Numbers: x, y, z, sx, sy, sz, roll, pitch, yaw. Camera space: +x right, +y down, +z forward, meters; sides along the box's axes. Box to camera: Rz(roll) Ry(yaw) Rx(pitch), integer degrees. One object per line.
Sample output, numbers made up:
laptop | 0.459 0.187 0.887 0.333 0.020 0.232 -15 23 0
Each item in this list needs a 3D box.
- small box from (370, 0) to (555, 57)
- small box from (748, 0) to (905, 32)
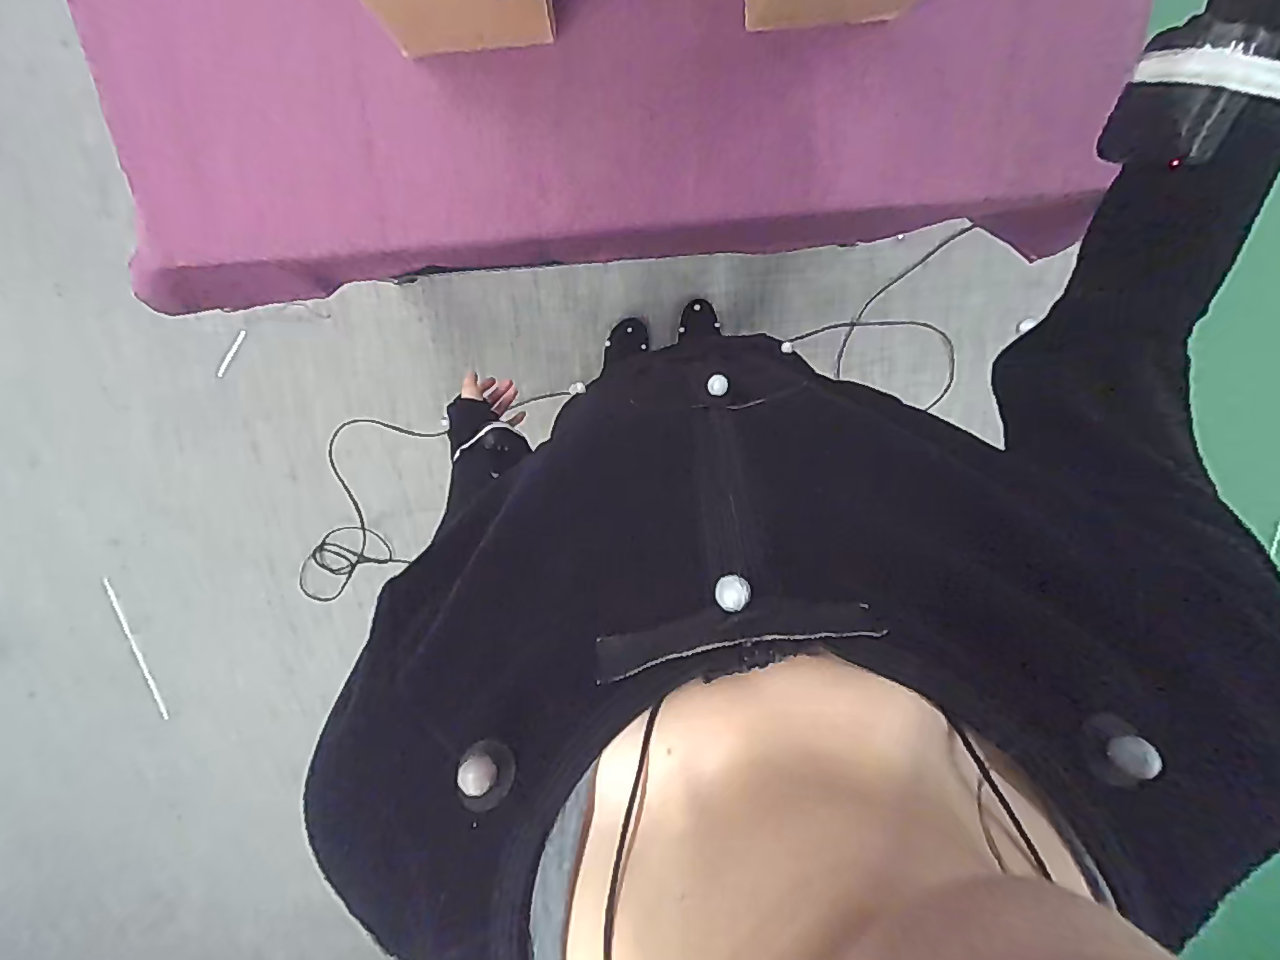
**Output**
small box | -0.185 -0.539 0.515 0.179 0.176 0.168 -8 106 -2
small box | 0.205 -0.573 0.524 0.179 0.176 0.168 -6 107 -2
